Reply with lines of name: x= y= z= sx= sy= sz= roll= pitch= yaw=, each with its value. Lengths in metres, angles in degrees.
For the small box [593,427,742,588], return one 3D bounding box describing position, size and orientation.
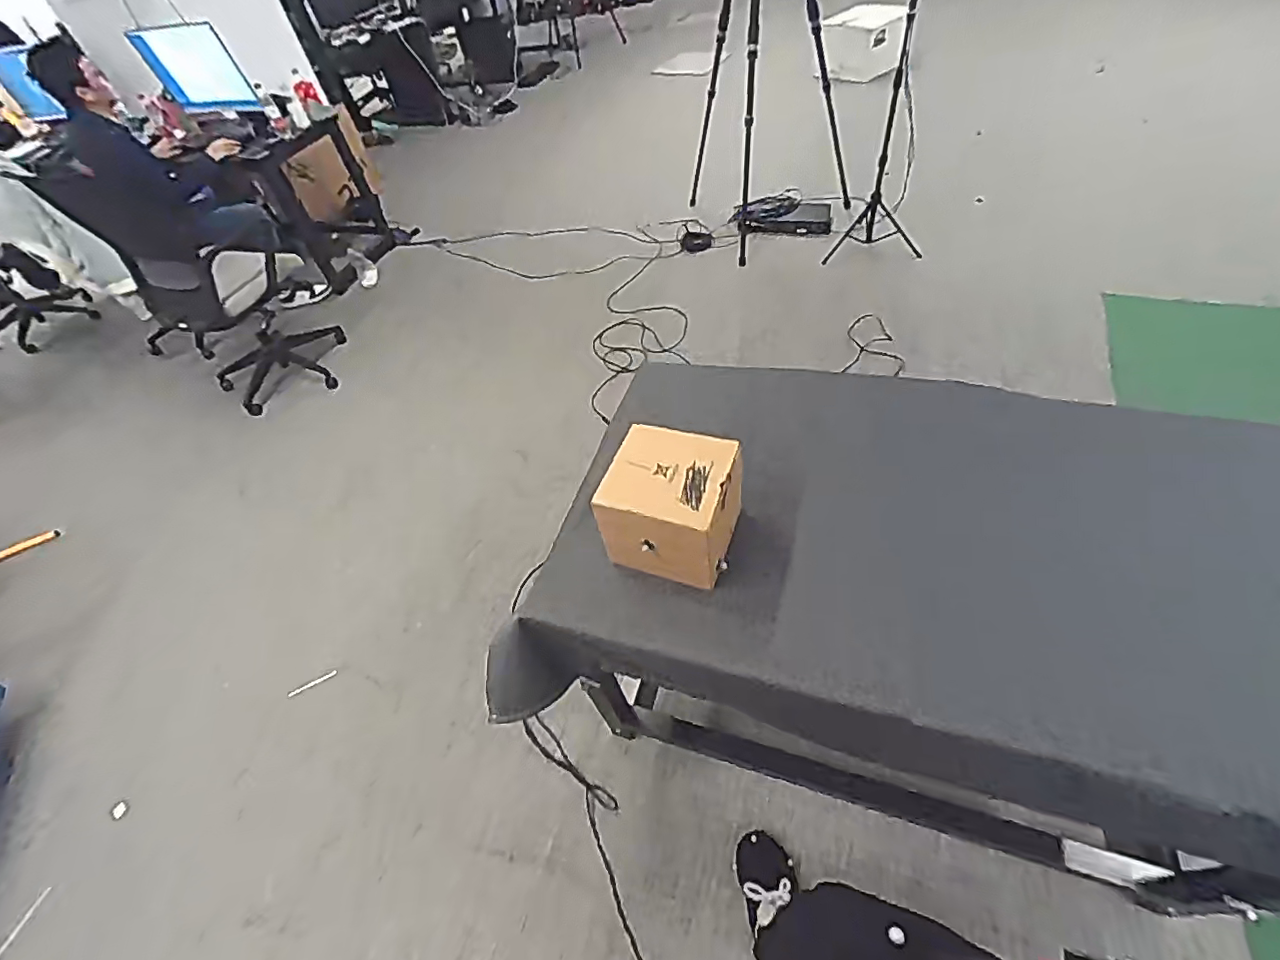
small box: x=0.052 y=0.046 z=0.838 sx=0.179 sy=0.176 sz=0.168 roll=13 pitch=53 yaw=20
